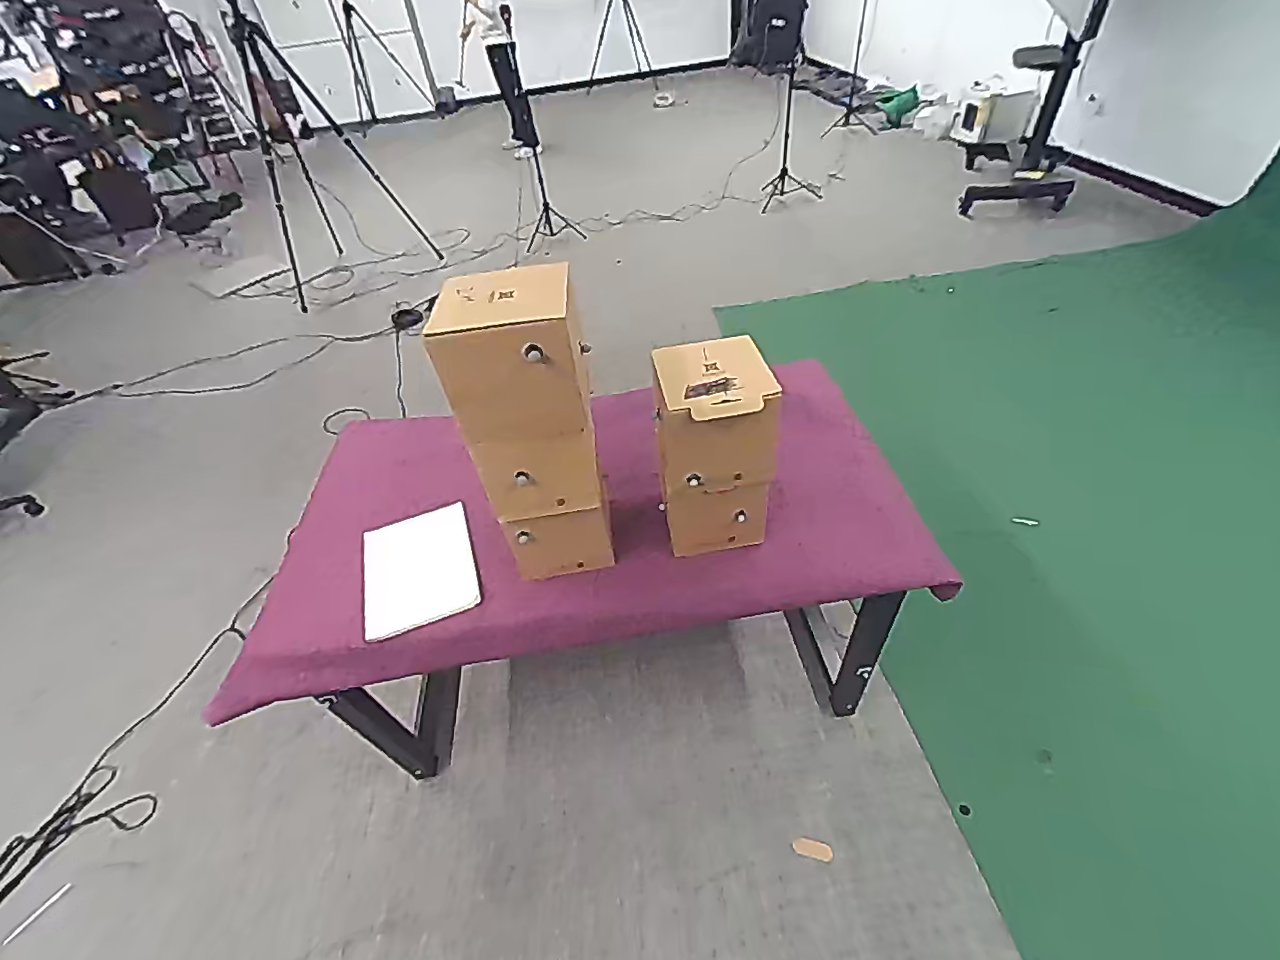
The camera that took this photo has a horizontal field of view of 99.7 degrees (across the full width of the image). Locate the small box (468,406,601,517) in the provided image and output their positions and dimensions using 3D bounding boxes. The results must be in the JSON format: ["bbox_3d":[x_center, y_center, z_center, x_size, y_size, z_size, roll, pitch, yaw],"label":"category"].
[{"bbox_3d":[-0.158,-0.055,0.864,0.168,0.176,0.179,-8,43,0],"label":"small box"}]

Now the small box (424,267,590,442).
[{"bbox_3d":[-0.166,-0.171,0.746,0.179,0.176,0.168,-7,42,2],"label":"small box"}]

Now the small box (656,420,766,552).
[{"bbox_3d":[0.125,0.017,0.986,0.168,0.176,0.179,-8,43,-1],"label":"small box"}]
